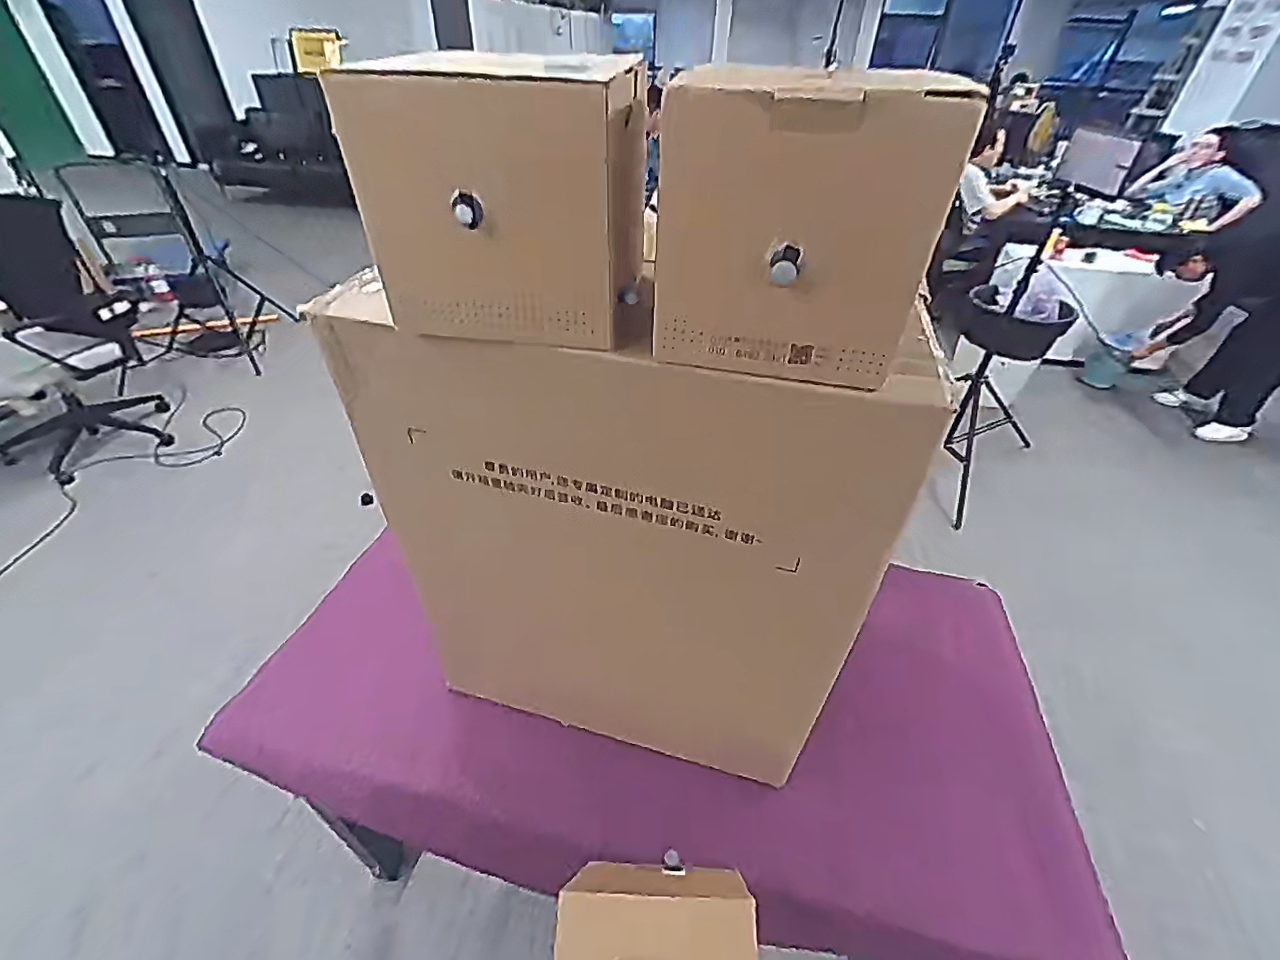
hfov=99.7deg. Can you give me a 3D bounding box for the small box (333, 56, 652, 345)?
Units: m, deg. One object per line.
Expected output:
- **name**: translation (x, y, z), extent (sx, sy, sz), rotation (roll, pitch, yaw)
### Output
- **small box**: translation (-0.089, -0.220, 0.427), extent (0.179, 0.176, 0.168), rotation (5, 40, 6)

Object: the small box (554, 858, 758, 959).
- **small box**: translation (0.016, 0.454, 0.479), extent (0.168, 0.176, 0.179), rotation (0, 60, 3)

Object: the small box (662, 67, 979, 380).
- **small box**: translation (0.112, -0.192, 0.399), extent (0.168, 0.176, 0.179), rotation (10, 41, 9)
